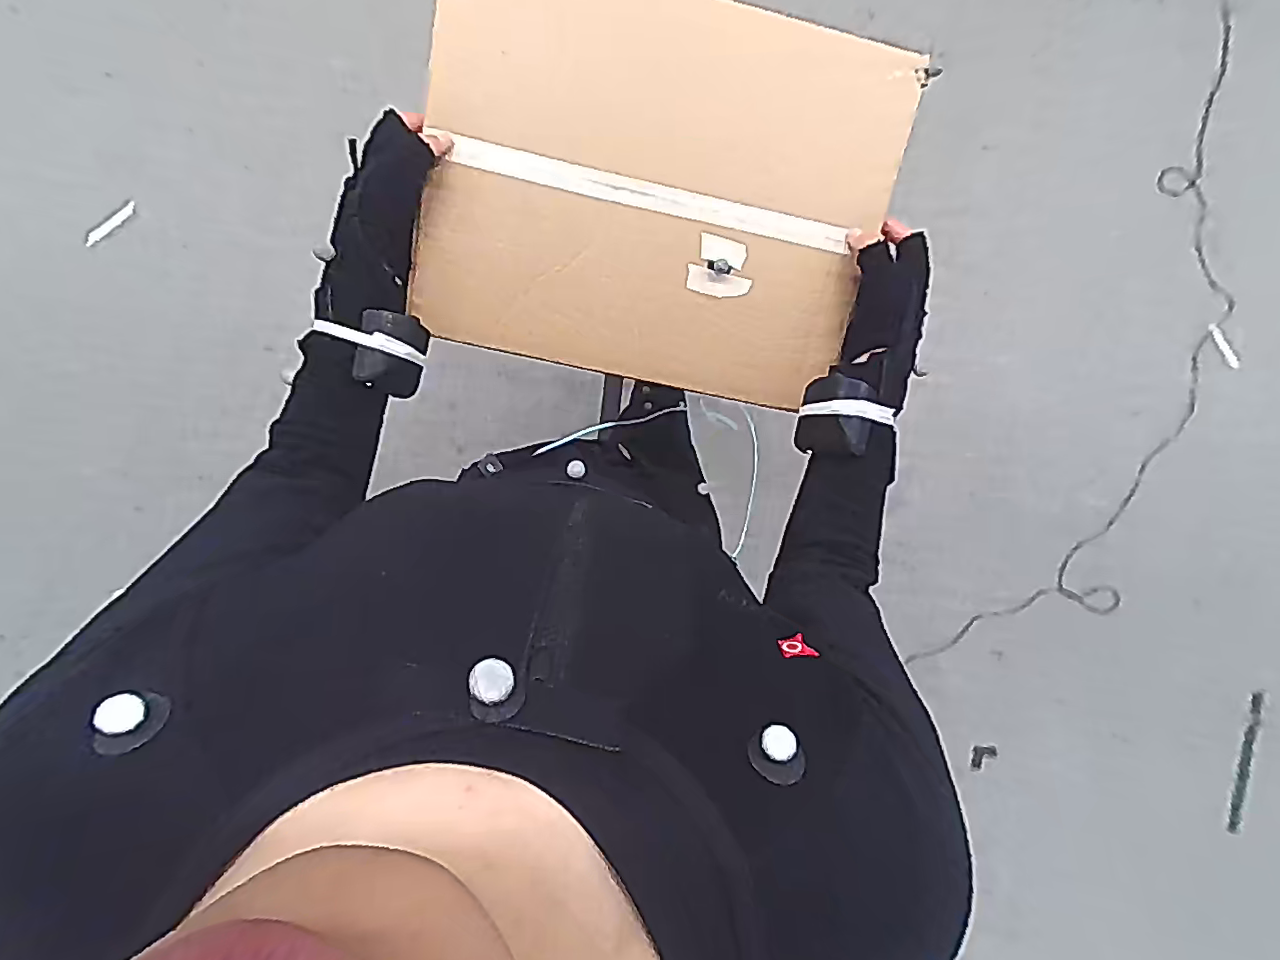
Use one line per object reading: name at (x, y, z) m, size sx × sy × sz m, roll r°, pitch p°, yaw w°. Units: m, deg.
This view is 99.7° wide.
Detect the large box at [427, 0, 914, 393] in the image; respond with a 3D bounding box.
large box at (0.010, -0.300, 0.633) m, size 0.408 × 0.320 × 0.320 m, roll 10°, pitch 105°, yaw -6°
